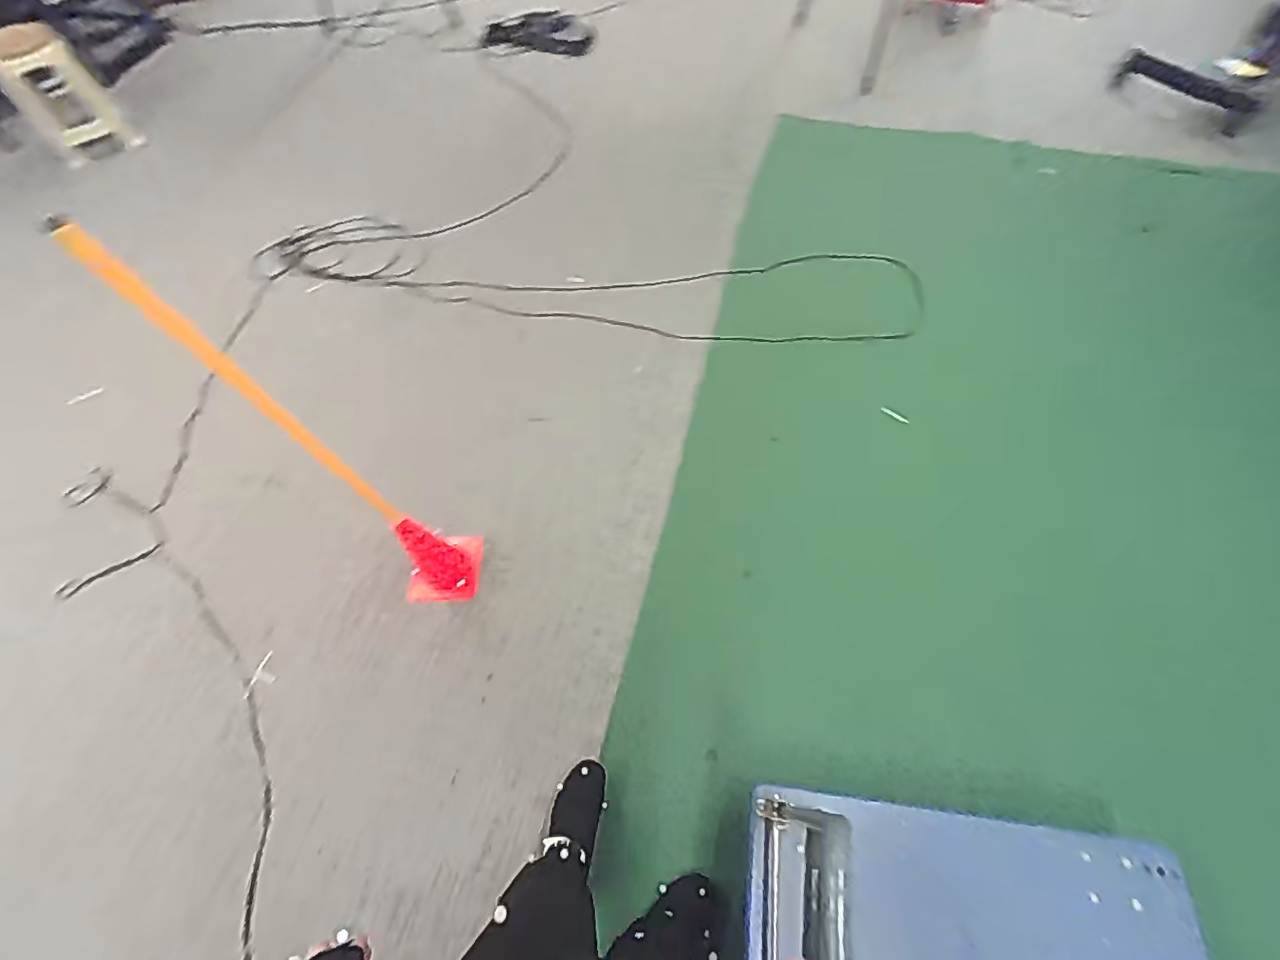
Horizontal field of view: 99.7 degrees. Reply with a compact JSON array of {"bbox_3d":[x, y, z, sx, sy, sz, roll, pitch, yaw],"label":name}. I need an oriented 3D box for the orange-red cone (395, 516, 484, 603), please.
[{"bbox_3d":[-0.586,0.189,1.493,0.198,0.360,0.199,0,60,2],"label":"orange-red cone"}]
